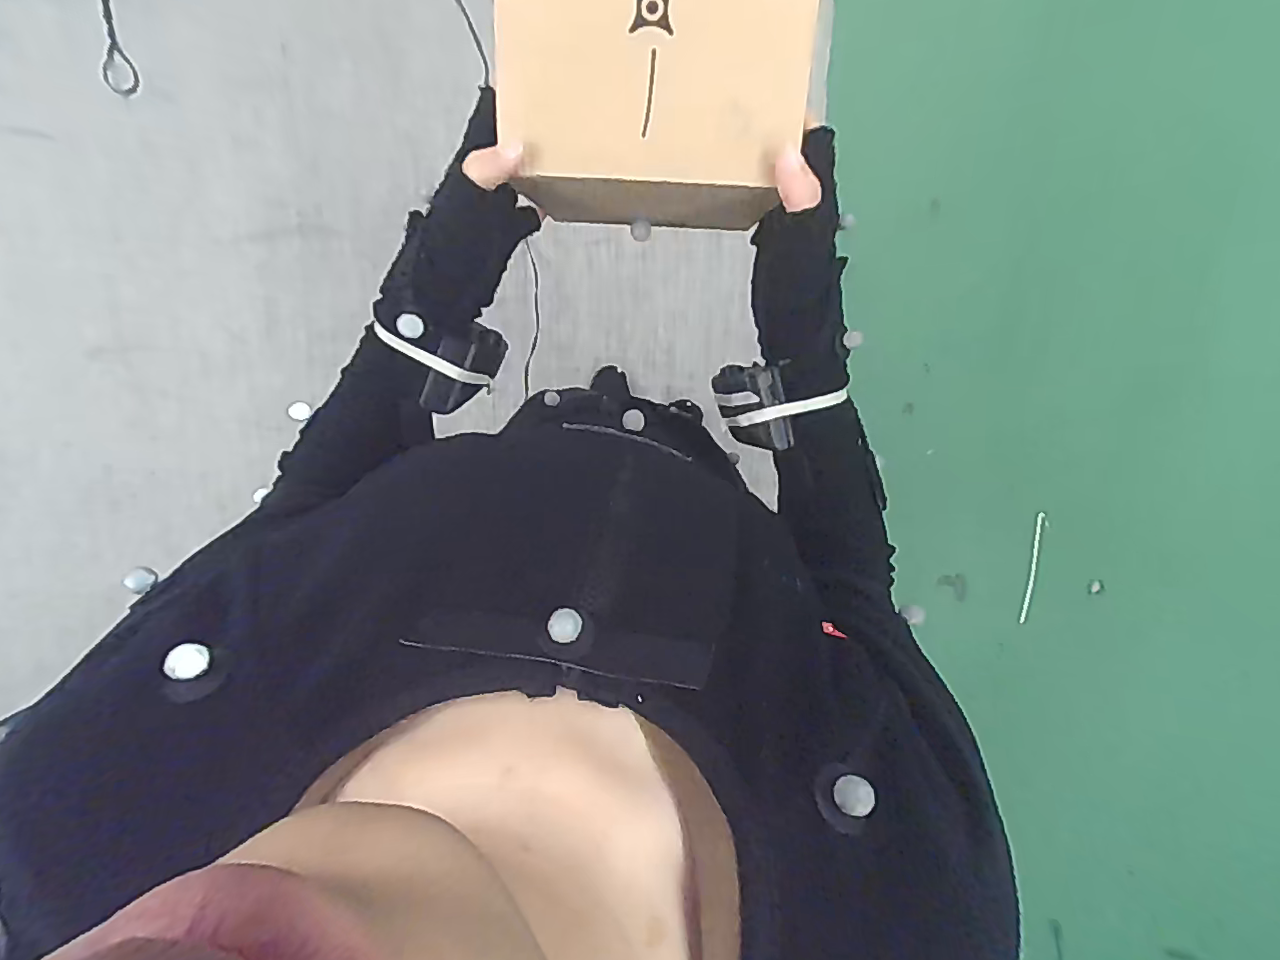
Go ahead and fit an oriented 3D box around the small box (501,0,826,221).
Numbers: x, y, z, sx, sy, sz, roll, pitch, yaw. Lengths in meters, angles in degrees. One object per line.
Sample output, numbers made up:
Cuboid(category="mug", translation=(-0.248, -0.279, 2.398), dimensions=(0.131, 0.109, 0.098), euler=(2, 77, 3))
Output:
Cuboid(category="small box", translation=(0.014, -0.277, 0.344), dimensions=(0.168, 0.176, 0.179), euler=(3, 108, 1))
